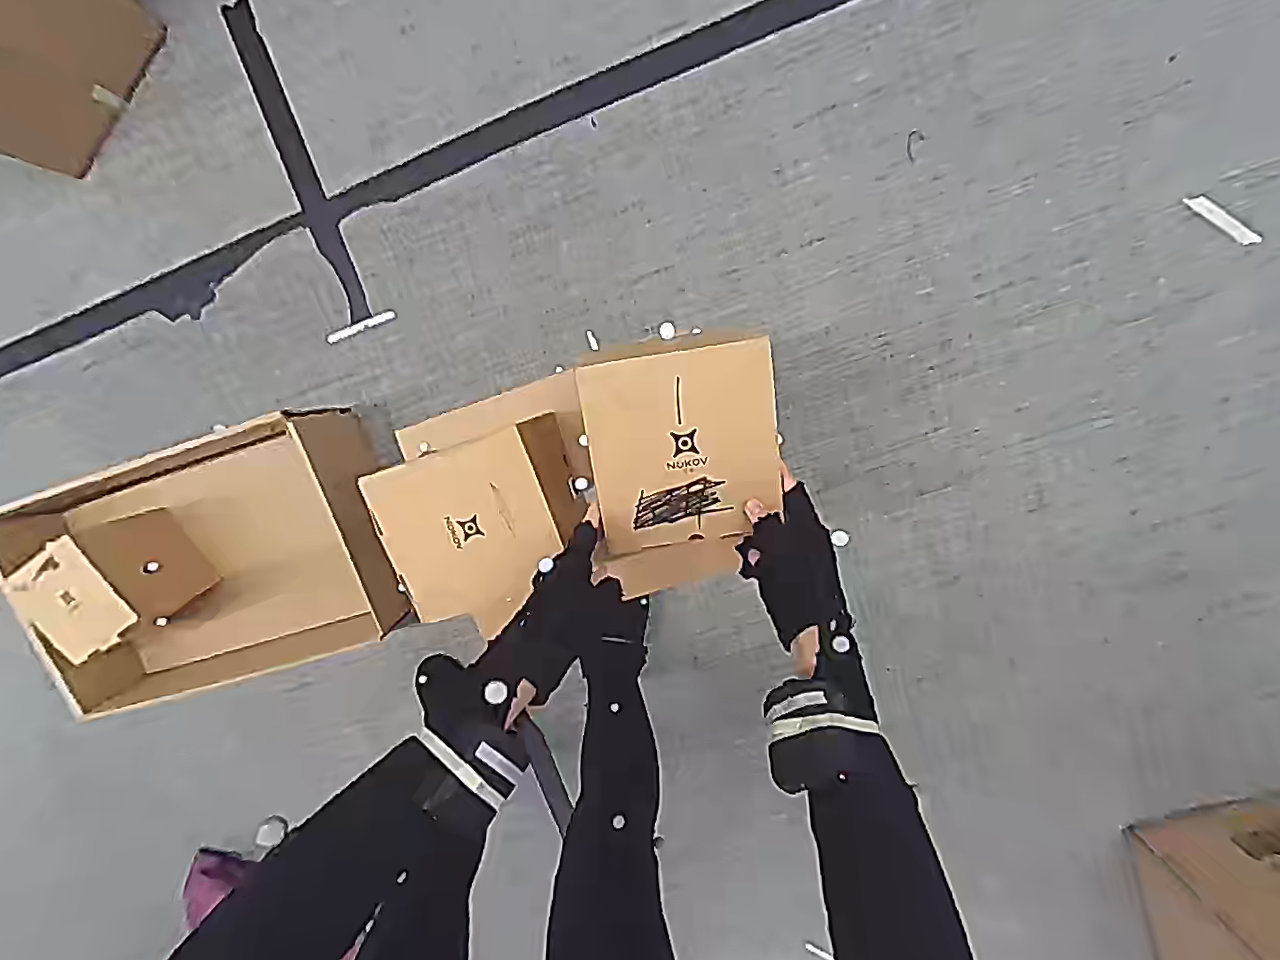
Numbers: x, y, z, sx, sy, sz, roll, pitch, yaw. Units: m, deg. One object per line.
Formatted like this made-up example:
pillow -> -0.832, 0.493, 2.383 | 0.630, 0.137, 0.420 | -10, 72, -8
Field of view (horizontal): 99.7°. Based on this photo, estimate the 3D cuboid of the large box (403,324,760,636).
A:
large box -> -0.070, -0.014, 0.853 | 0.408, 0.320, 0.320 | -19, 100, 6

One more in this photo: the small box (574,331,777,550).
small box -> 0.035, -0.050, 0.554 | 0.168, 0.176, 0.179 | -9, 107, 1
